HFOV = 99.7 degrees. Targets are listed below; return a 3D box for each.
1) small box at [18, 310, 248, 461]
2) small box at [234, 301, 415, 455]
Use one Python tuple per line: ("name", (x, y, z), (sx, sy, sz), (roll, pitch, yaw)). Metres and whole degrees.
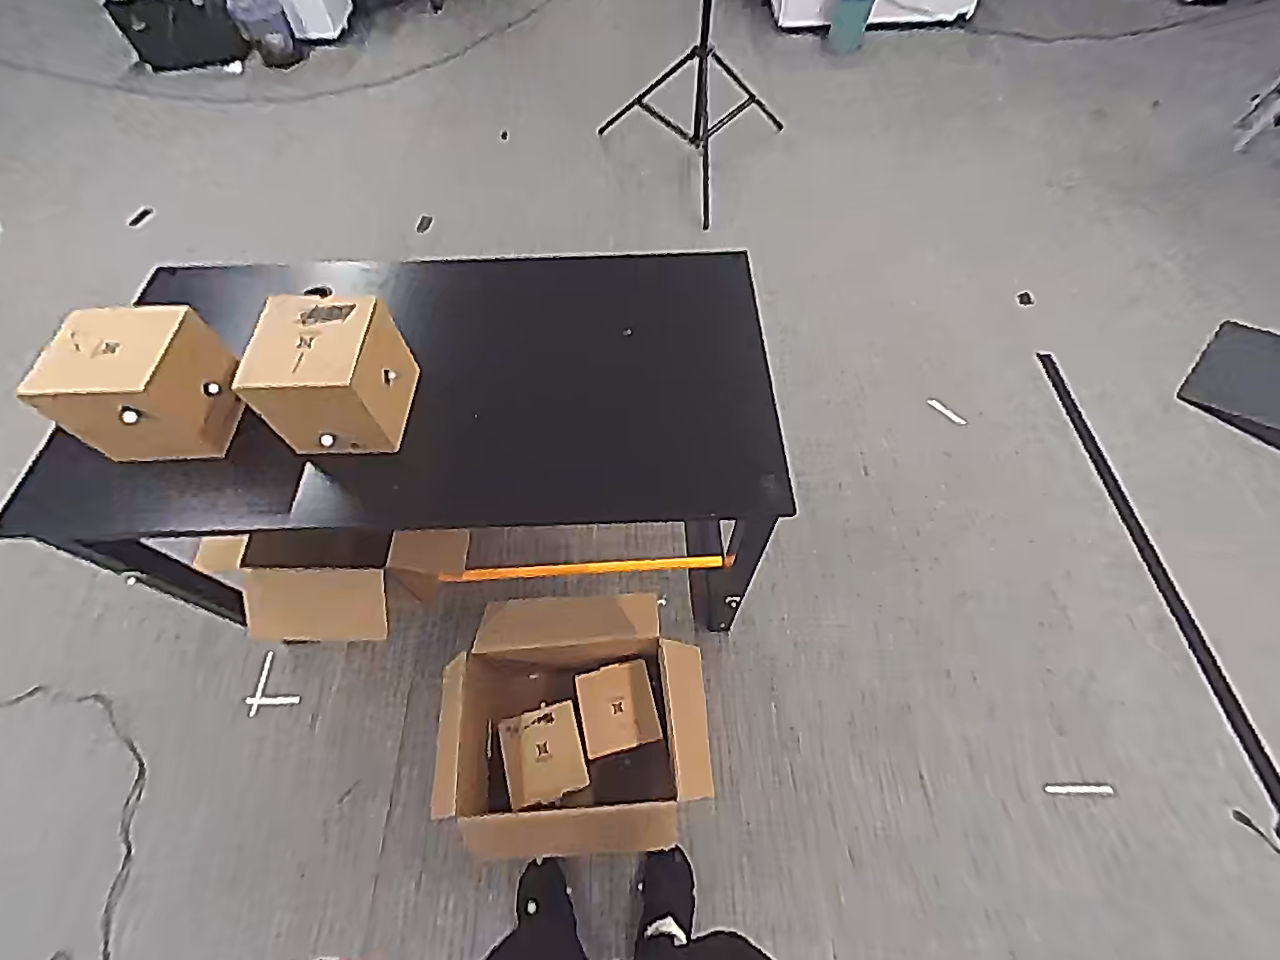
("small box", (-0.756, -0.142, 0.839), (0.179, 0.176, 0.168), (-2, 59, -1))
("small box", (-0.472, -0.156, 0.845), (0.168, 0.176, 0.179), (-1, 60, 1))
